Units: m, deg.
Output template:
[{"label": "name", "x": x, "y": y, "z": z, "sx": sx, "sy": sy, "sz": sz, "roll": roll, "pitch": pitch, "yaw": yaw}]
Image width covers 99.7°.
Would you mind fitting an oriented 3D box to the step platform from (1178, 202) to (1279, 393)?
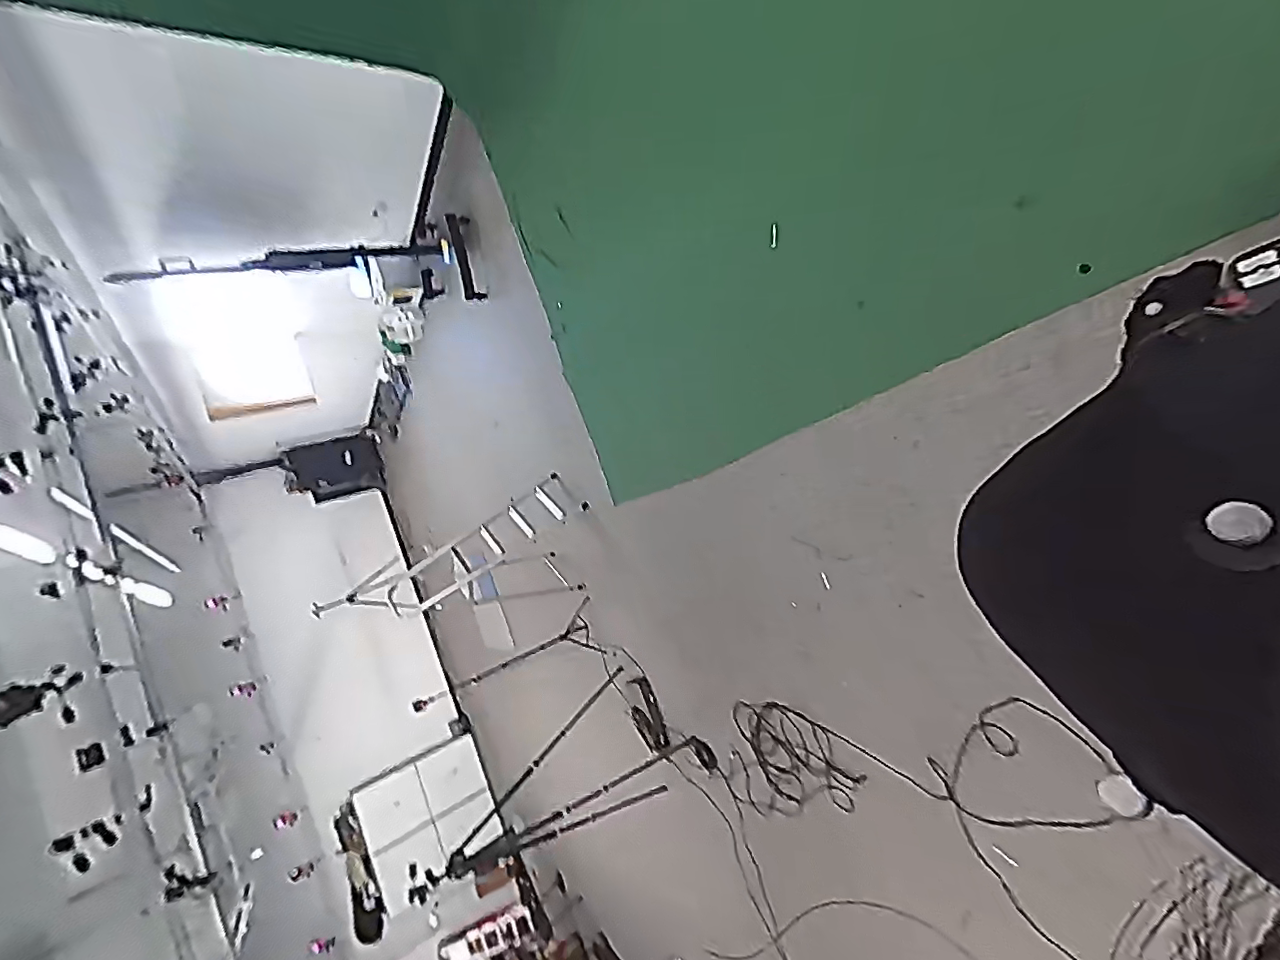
[{"label": "step platform", "x": 1.189, "y": -0.374, "z": 0.690, "sx": 0.684, "sy": 0.204, "sz": 0.286, "roll": -28, "pitch": 83, "yaw": 56}]
